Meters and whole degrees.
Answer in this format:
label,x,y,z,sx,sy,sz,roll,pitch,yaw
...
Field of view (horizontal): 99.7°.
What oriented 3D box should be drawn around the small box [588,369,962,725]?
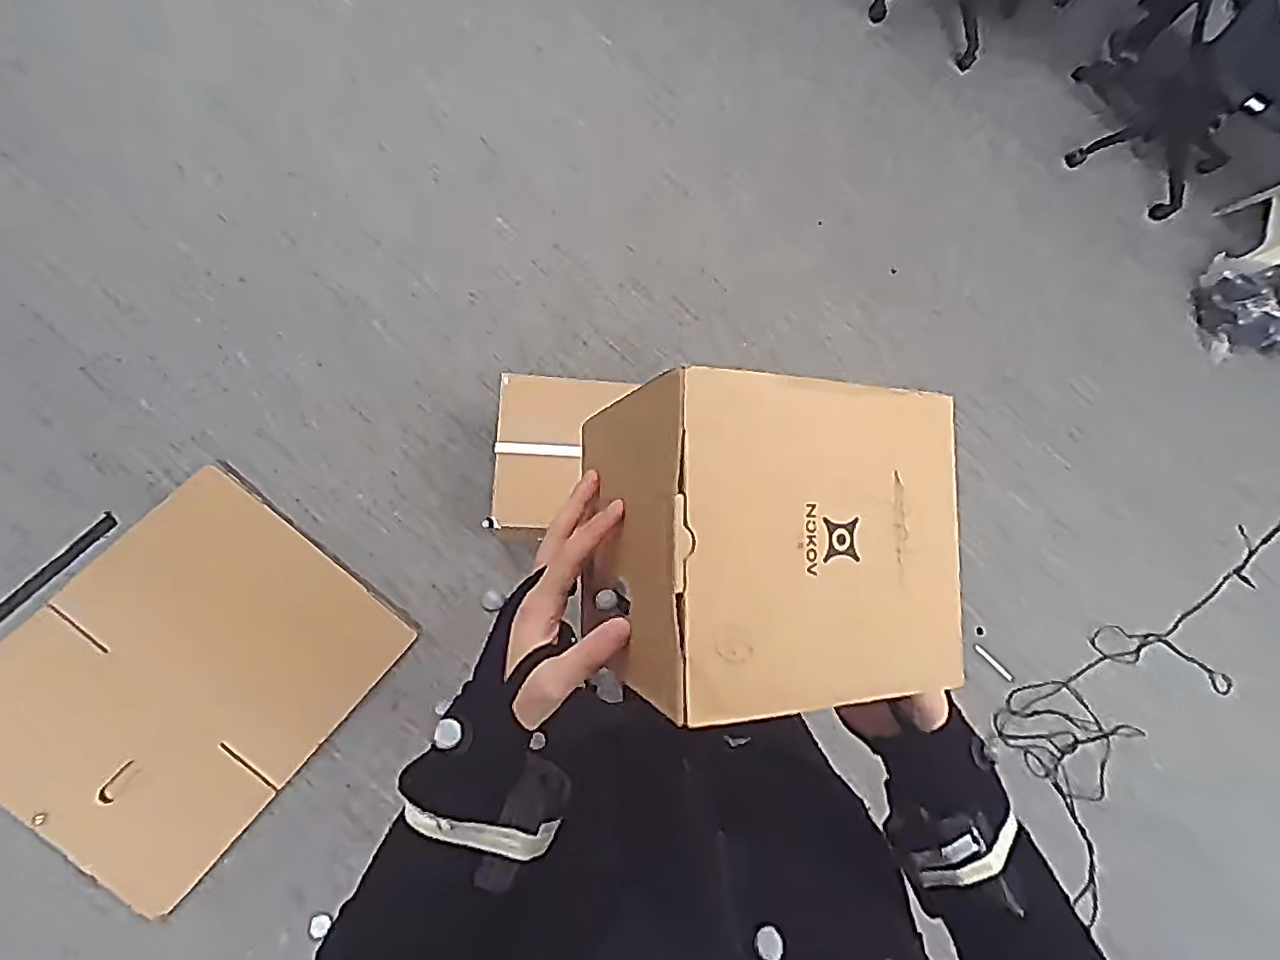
label,x,y,z,sx,sy,sz,roll,pitch,yaw
small box,0.069,0.037,0.349,0.179,0.176,0.168,1,86,-22
